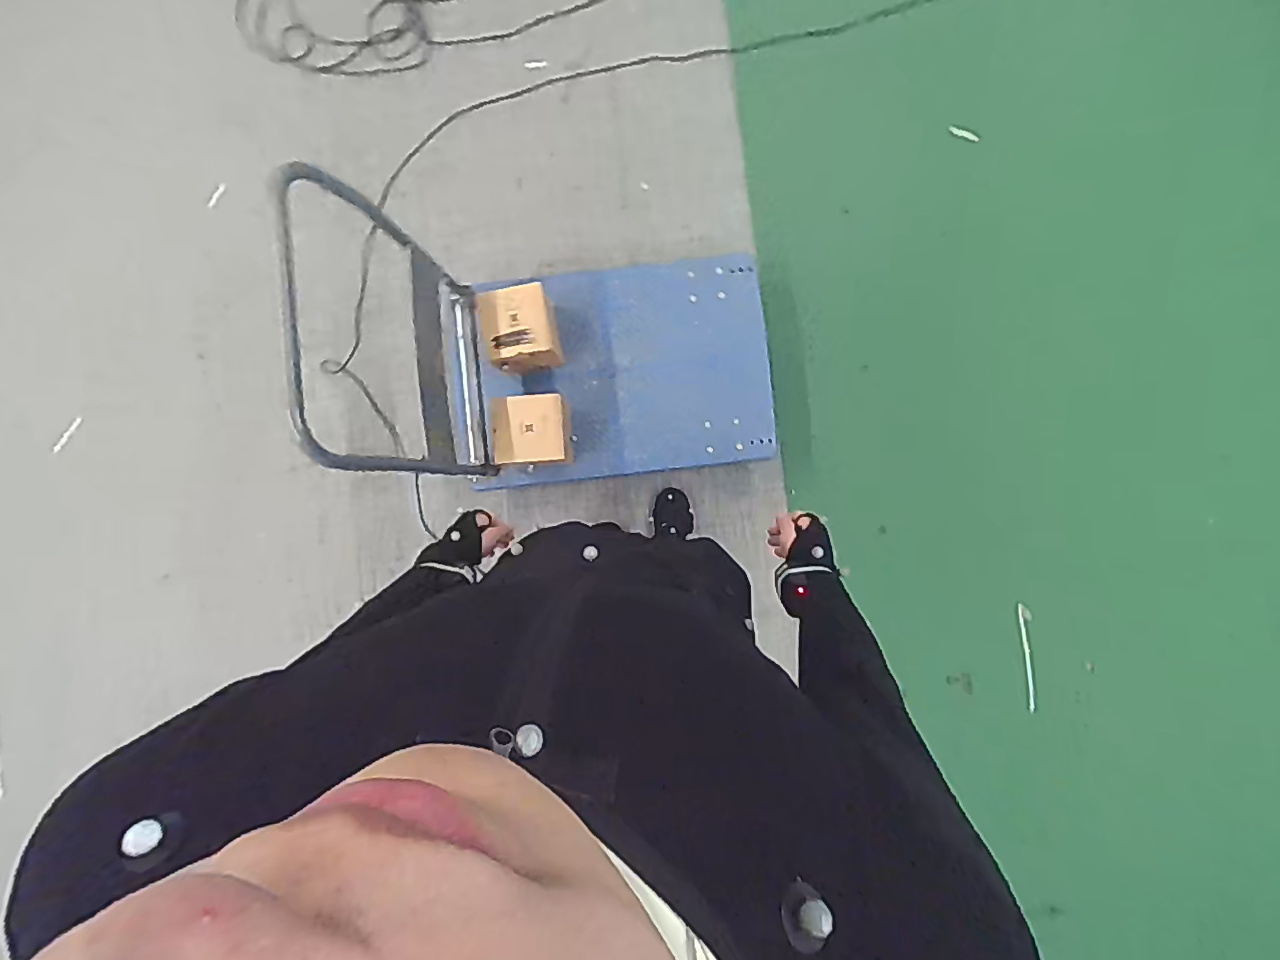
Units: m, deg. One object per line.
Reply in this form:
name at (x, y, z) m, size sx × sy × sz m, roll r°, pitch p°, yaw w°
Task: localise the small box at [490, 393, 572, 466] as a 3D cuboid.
small box at (-0.277, -0.126, 1.405) m, size 0.179 × 0.176 × 0.168 m, roll -4°, pitch 89°, yaw 0°
